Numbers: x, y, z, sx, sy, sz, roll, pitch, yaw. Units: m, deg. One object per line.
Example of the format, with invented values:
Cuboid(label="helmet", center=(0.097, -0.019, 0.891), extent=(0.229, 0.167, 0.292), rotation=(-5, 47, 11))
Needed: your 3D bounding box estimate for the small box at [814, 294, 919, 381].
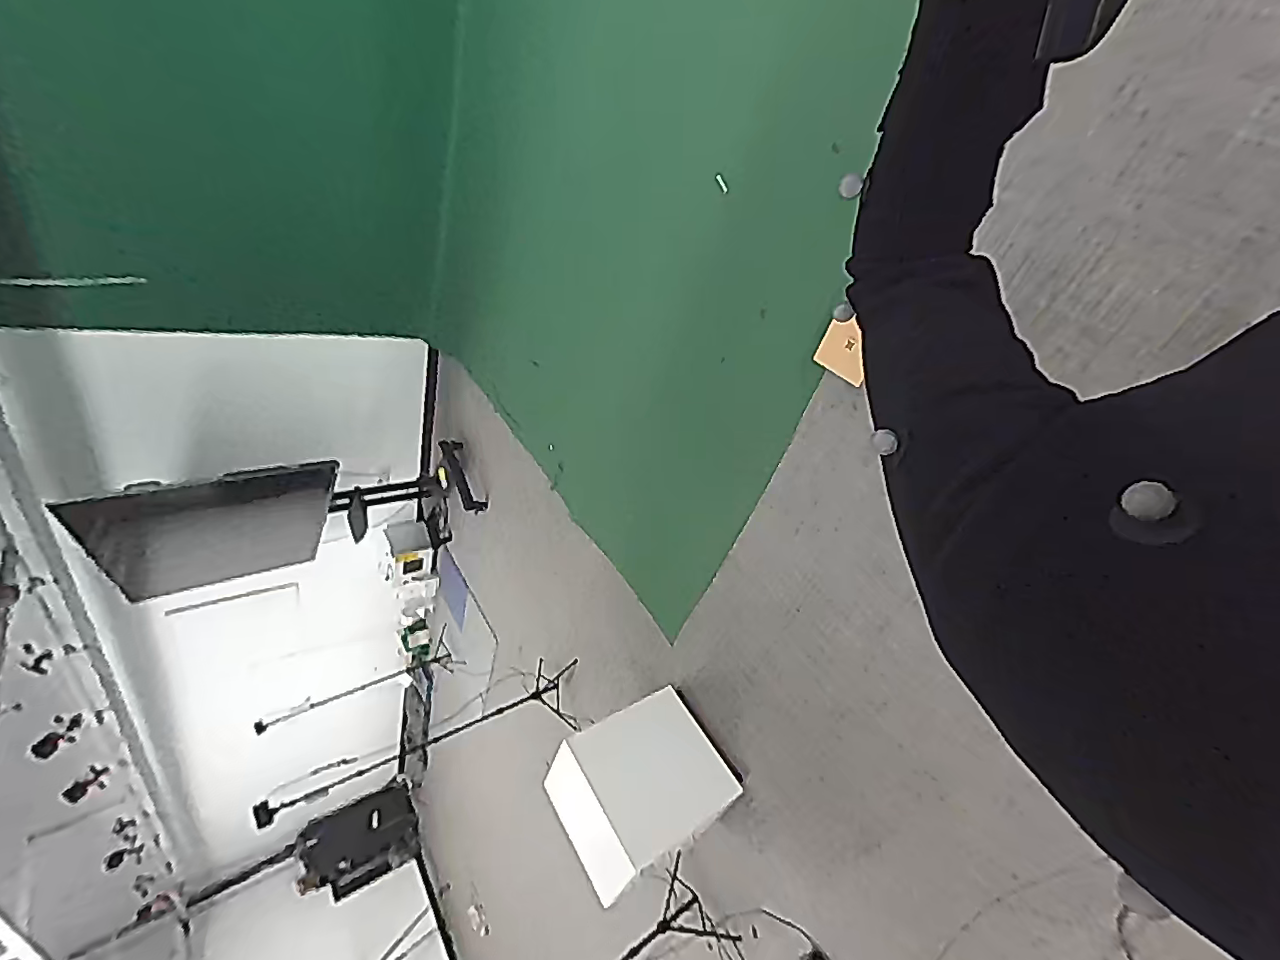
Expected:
Cuboid(label="small box", center=(0.616, -0.386, 1.467), extent=(0.168, 0.176, 0.179), rotation=(46, 130, 35))
